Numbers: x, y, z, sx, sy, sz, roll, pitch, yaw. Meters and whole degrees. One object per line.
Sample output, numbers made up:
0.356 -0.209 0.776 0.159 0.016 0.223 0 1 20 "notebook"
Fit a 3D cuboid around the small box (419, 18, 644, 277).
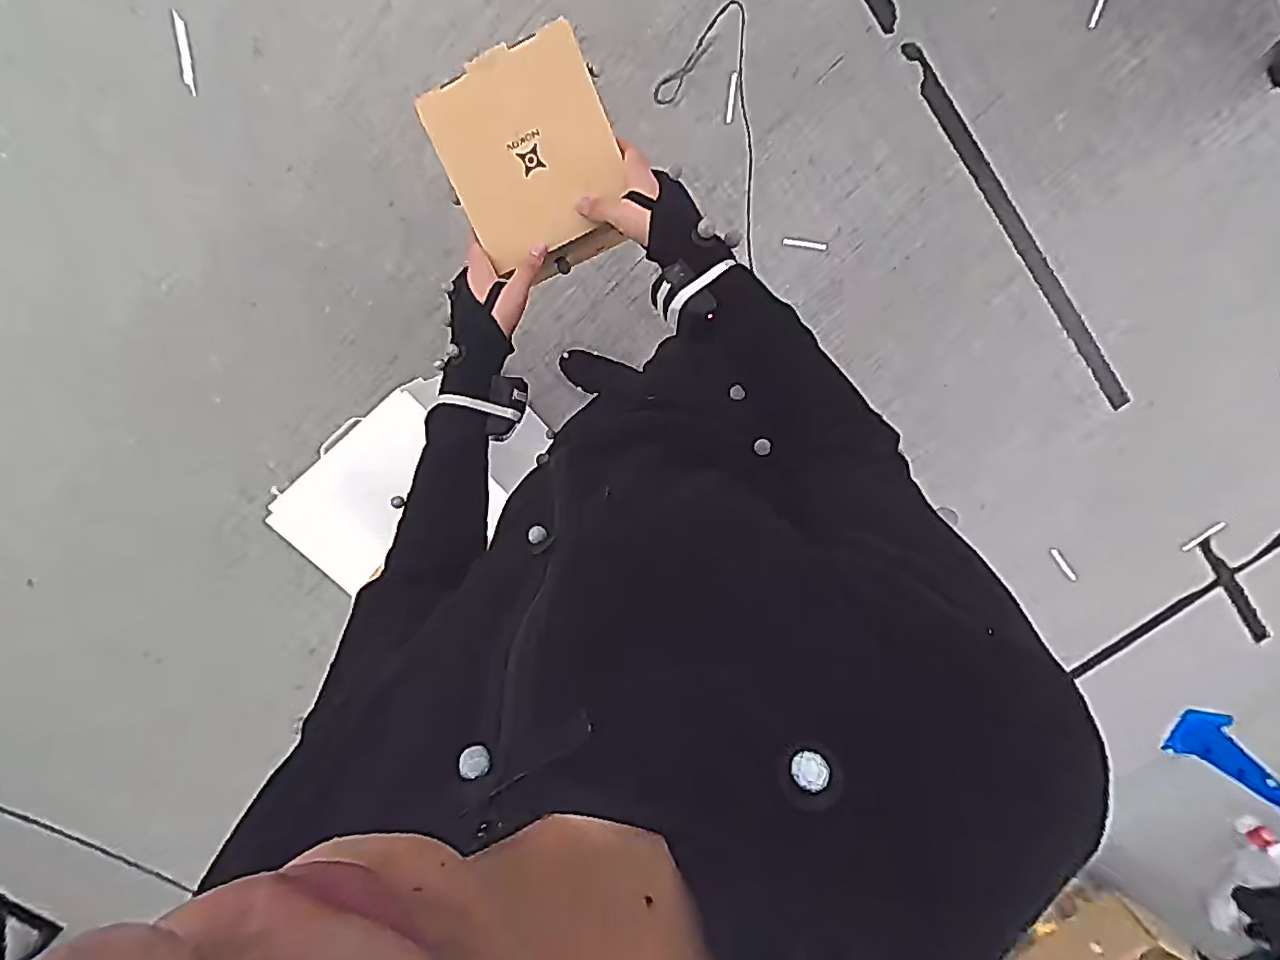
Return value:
-0.101 -0.340 0.602 0.168 0.176 0.179 -23 103 8 "small box"
